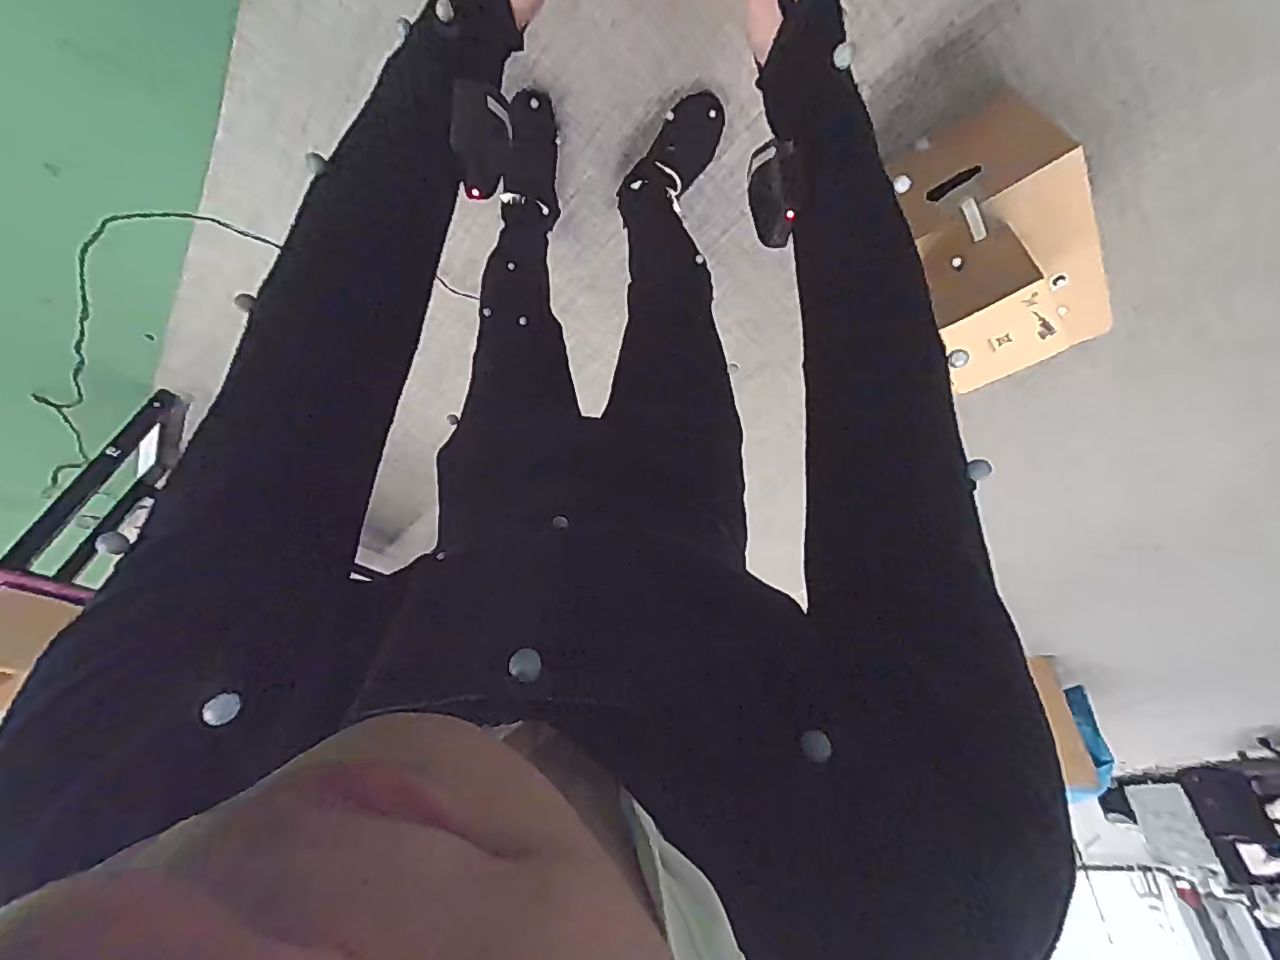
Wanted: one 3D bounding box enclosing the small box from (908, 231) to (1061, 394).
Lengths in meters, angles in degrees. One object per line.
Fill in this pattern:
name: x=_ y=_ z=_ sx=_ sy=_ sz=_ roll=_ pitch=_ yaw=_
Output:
small box: x=0.593 y=-0.291 z=0.951 sx=0.179 sy=0.176 sz=0.168 roll=-26 pitch=132 yaw=34
